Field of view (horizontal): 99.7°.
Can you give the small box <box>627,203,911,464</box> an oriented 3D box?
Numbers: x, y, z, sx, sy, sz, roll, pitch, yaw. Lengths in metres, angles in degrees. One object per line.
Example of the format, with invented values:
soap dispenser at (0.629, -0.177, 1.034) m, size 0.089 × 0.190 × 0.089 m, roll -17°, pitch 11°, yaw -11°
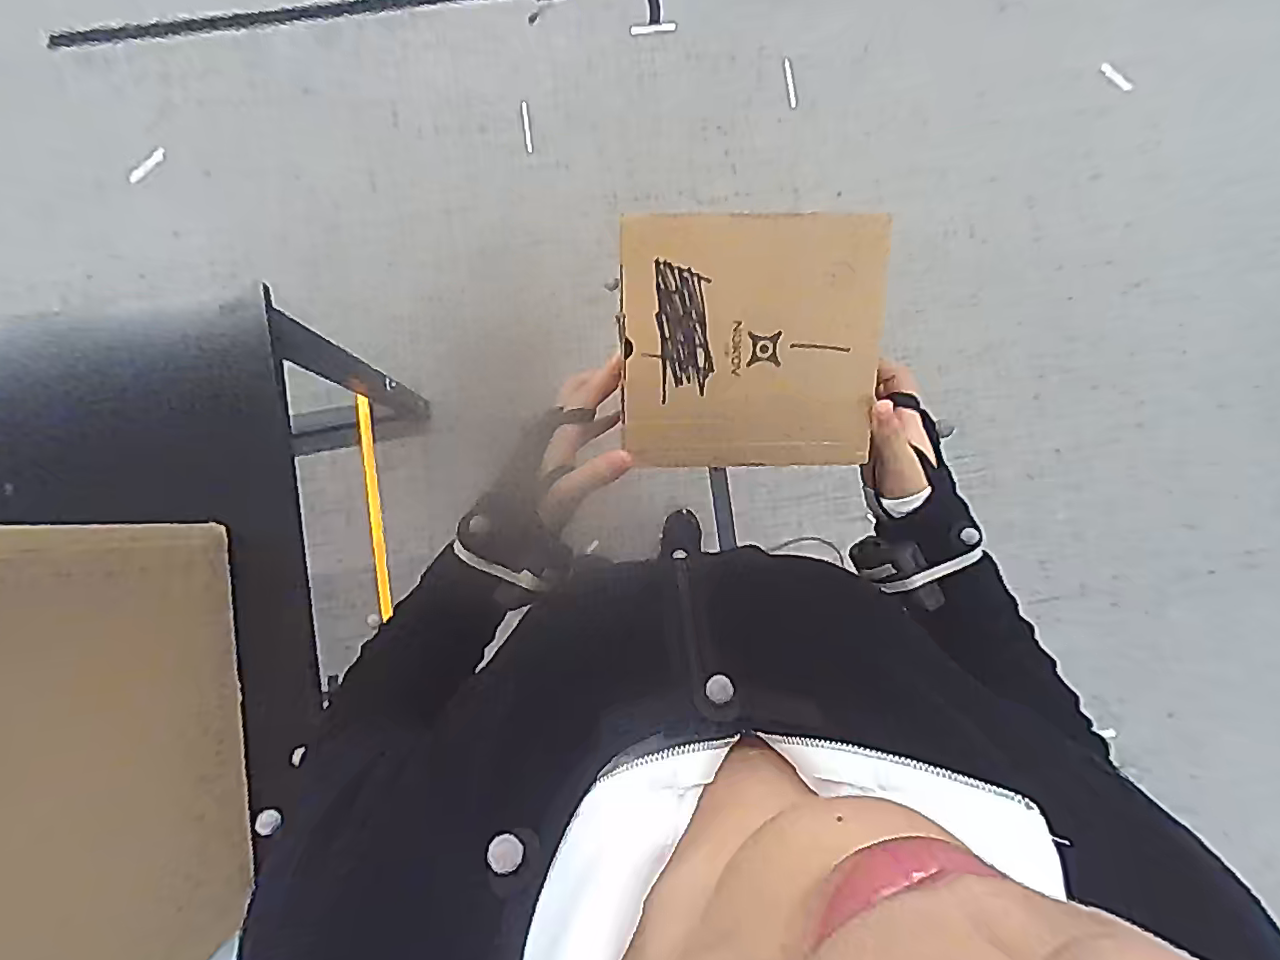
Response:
small box at (0.079, -0.111, 0.428) m, size 0.179 × 0.176 × 0.168 m, roll -1°, pitch 106°, yaw -2°
